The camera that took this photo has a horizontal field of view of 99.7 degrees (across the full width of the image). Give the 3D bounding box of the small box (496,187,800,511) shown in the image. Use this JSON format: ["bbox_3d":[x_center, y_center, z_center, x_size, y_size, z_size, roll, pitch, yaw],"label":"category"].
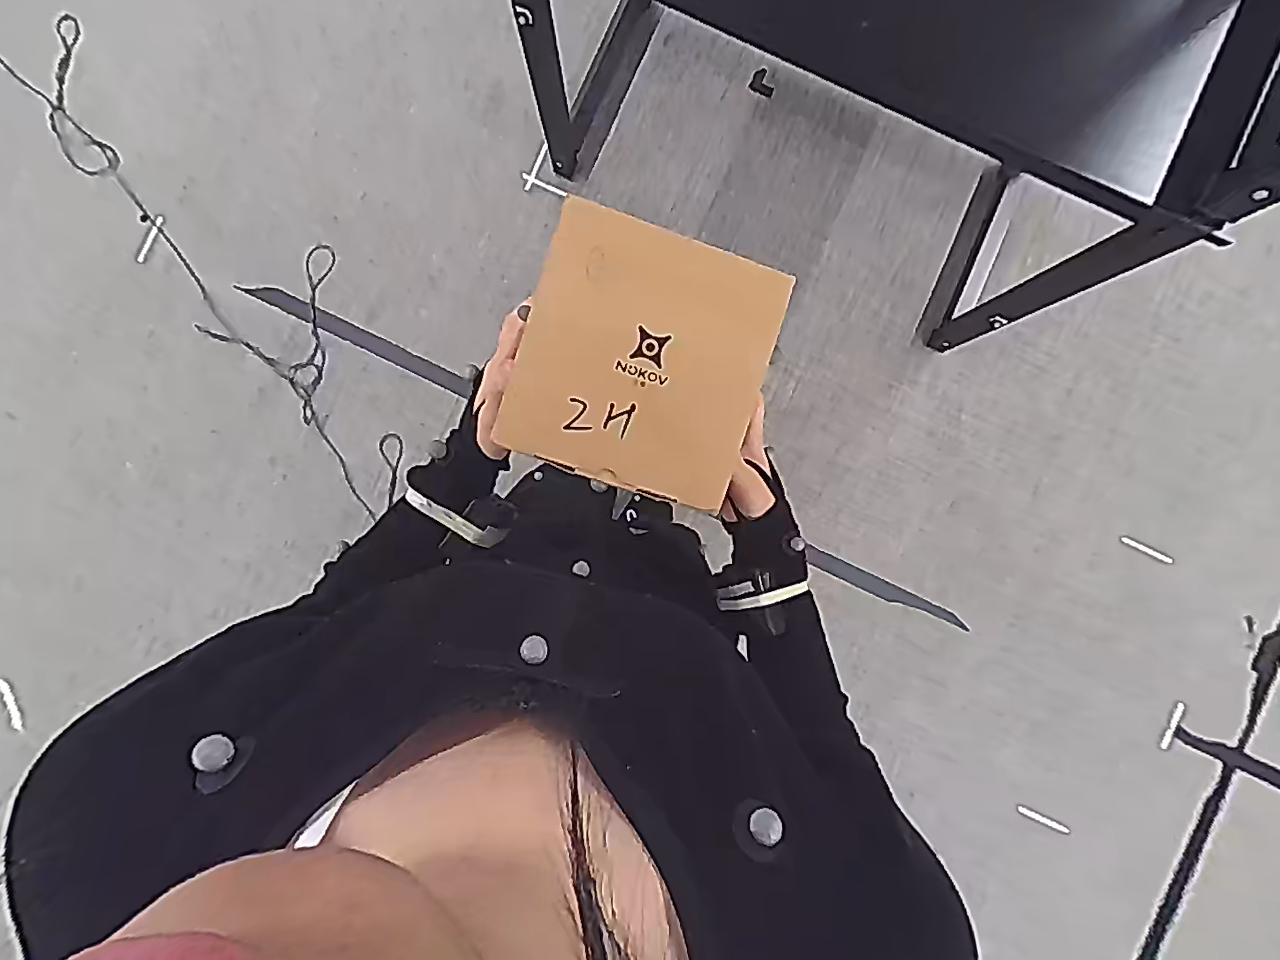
[{"bbox_3d":[-0.001,-0.089,0.440,0.168,0.176,0.179,18,92,-5],"label":"small box"}]
